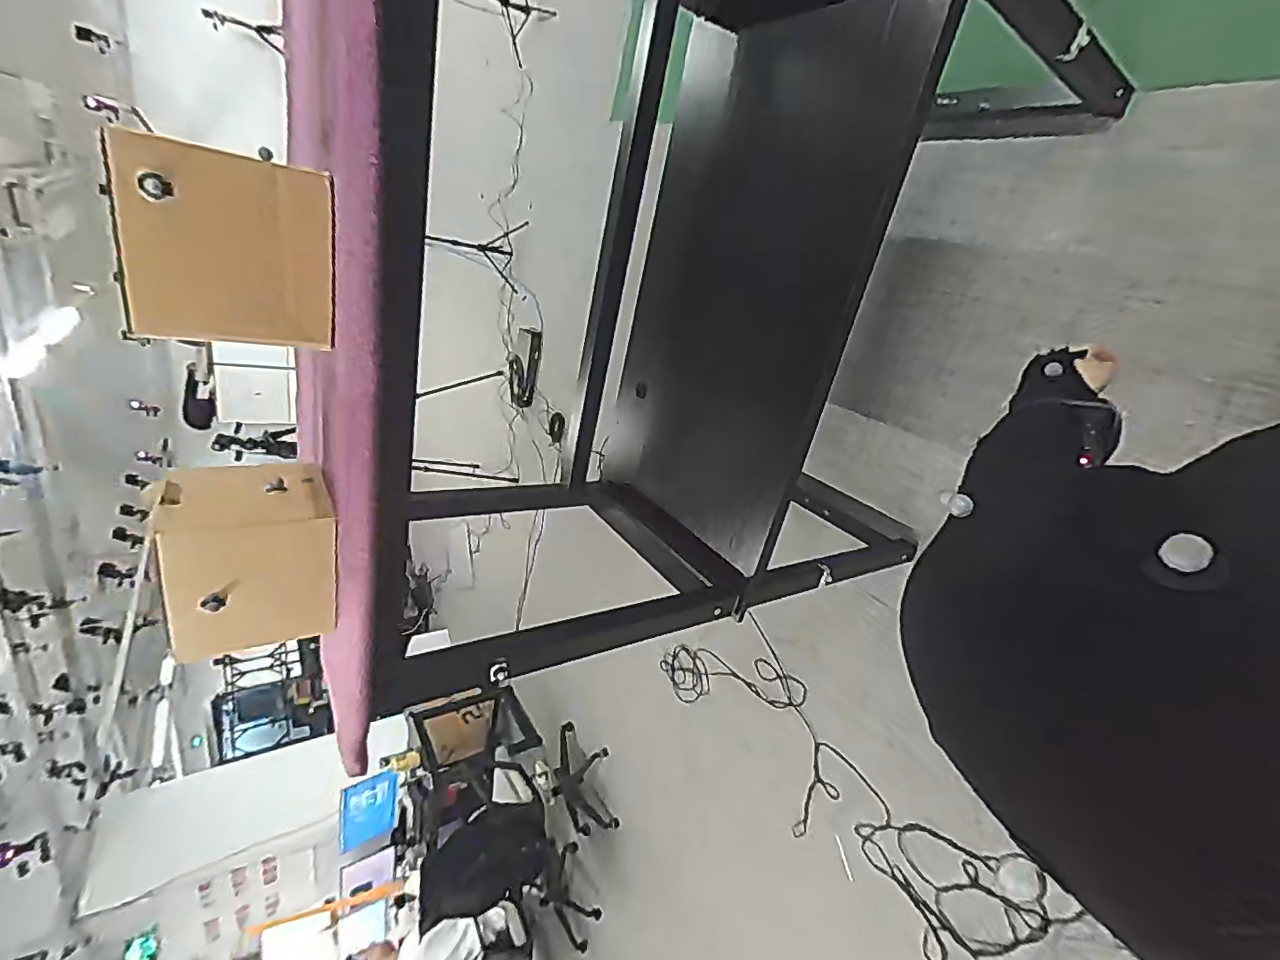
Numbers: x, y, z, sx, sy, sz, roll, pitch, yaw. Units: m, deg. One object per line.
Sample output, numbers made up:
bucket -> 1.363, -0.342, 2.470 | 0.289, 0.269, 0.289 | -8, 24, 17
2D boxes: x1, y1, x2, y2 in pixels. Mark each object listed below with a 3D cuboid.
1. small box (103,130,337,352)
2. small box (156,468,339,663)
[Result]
small box -> -0.422, -0.243, 0.572 | 0.168, 0.176, 0.179 | 39, 123, 48
small box -> -0.488, 0.095, 0.689 | 0.168, 0.176, 0.179 | 36, 121, 46
